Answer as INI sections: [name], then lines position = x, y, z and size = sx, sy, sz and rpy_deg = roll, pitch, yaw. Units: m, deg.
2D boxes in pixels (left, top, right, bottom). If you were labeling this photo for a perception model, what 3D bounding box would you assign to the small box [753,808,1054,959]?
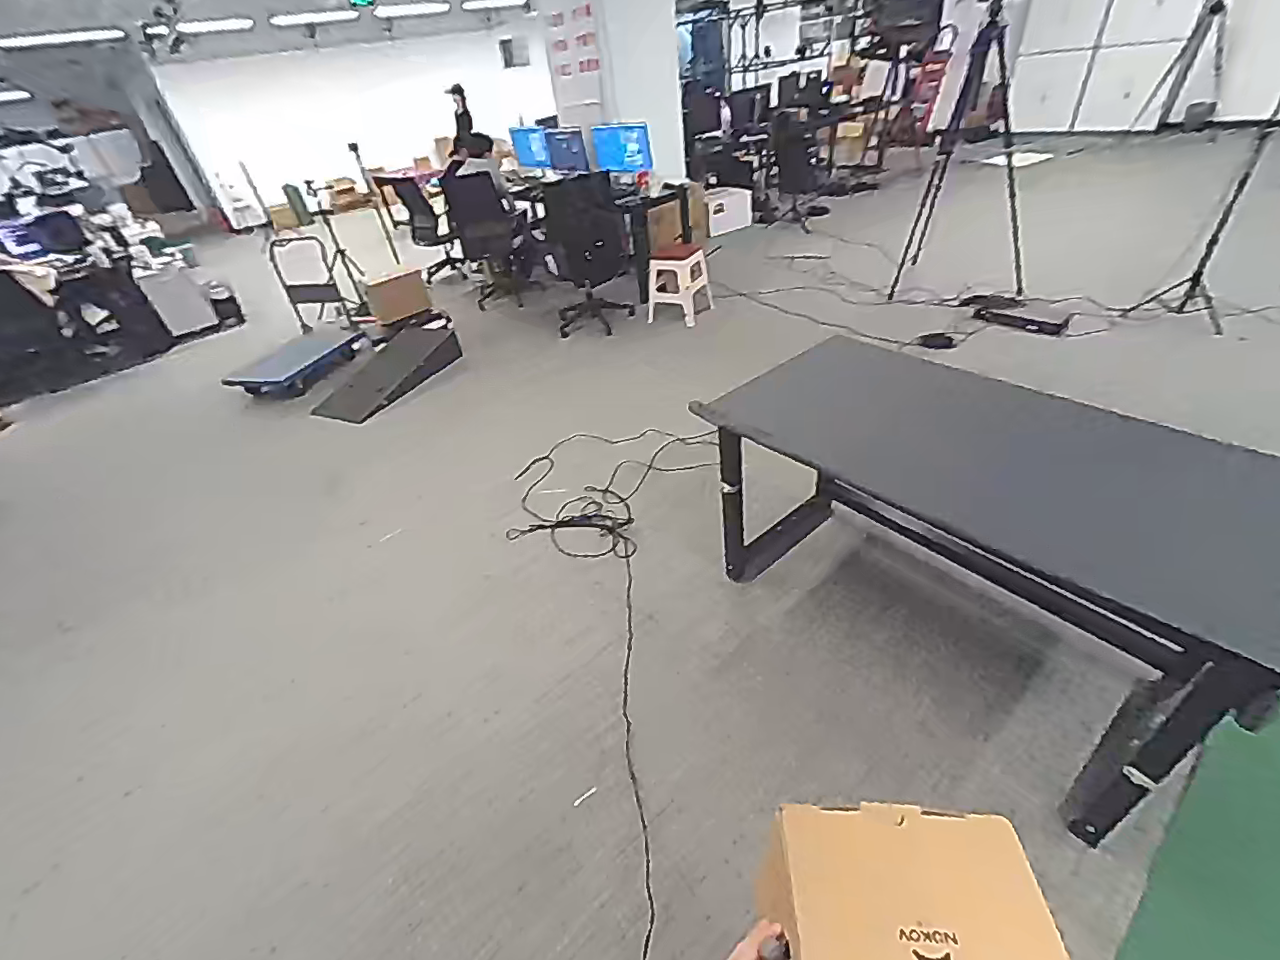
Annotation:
[small box]
position = 0.177, 0.363, 0.382
size = 0.168, 0.176, 0.179
rpy_deg = 0, 37, 3
